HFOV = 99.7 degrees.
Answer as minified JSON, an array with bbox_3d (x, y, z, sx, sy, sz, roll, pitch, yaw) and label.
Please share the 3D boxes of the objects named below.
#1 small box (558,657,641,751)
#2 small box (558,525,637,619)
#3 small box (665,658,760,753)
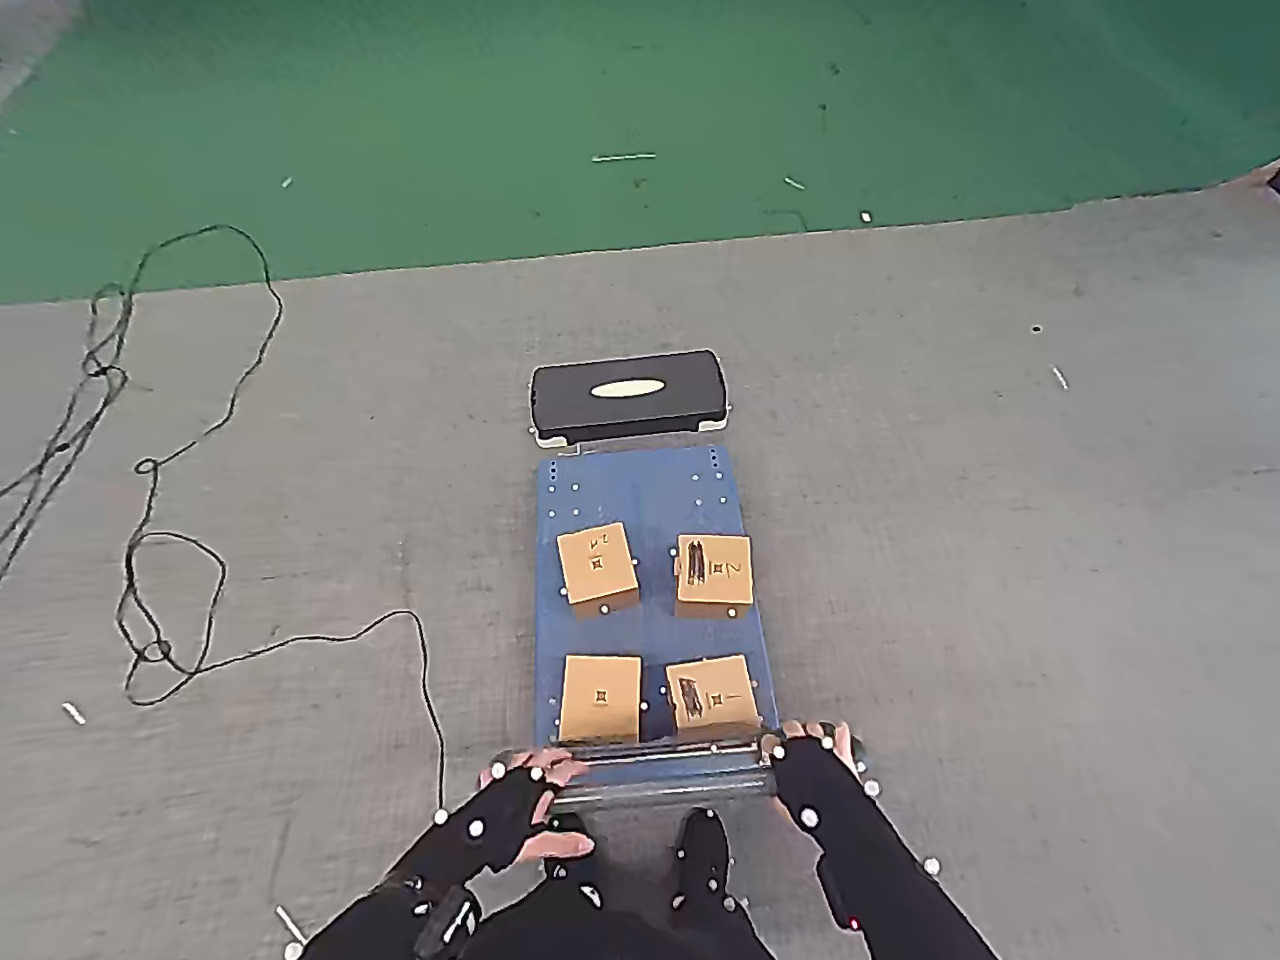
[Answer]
[{"bbox_3d":[-0.085,0.506,1.214,0.168,0.176,0.179,2,63,1],"label":"small box"},{"bbox_3d":[-0.104,0.238,1.358,0.168,0.176,0.179,-12,62,-7],"label":"small box"},{"bbox_3d":[0.153,0.508,1.208,0.179,0.176,0.168,-7,62,-3],"label":"small box"}]
